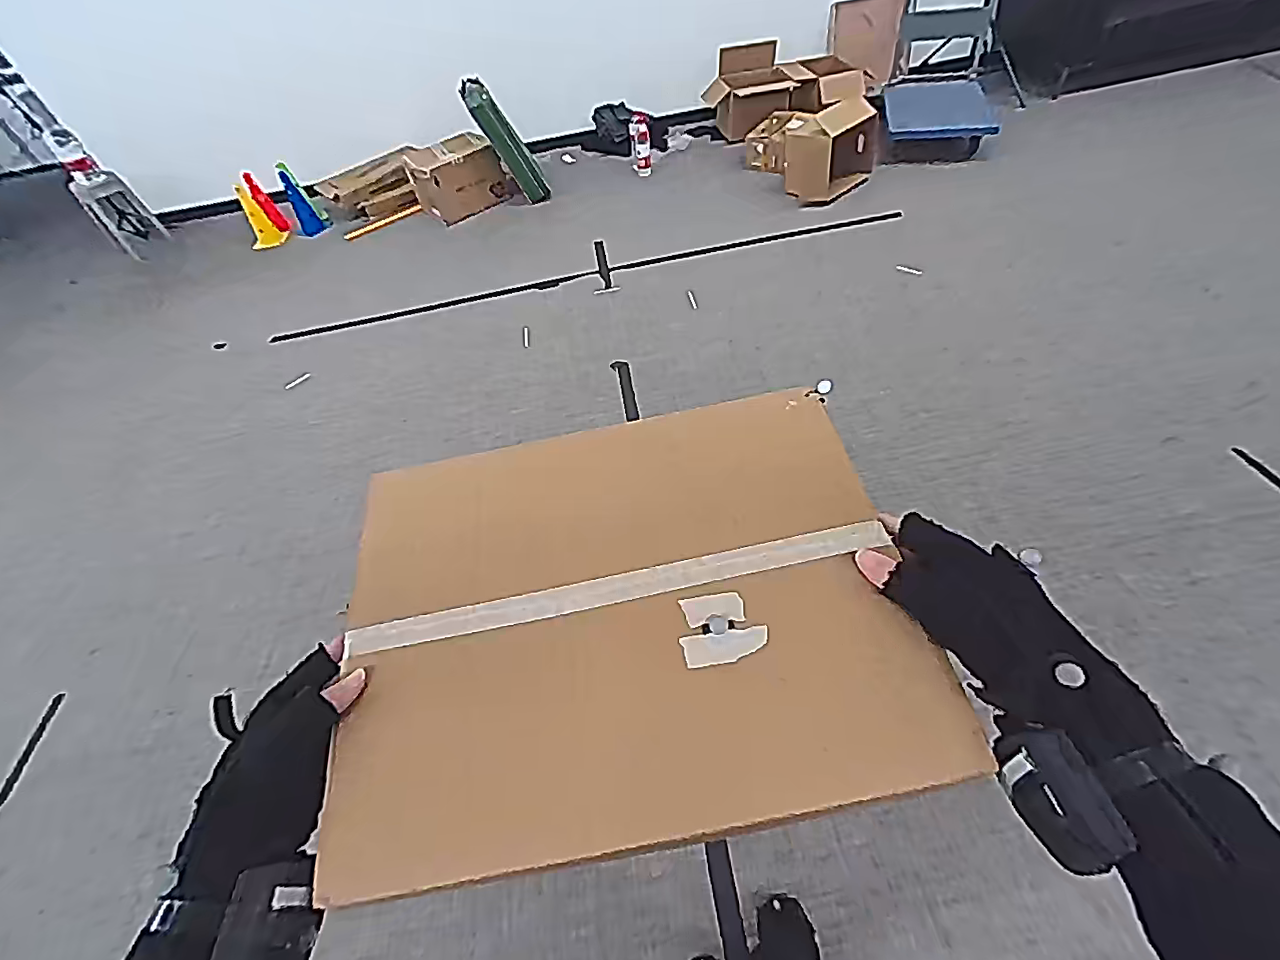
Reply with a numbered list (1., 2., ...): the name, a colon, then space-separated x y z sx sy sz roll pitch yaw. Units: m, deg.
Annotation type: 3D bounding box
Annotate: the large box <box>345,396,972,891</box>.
1. large box: 0.002 0.168 0.535 0.408 0.320 0.320 -11 56 -1
